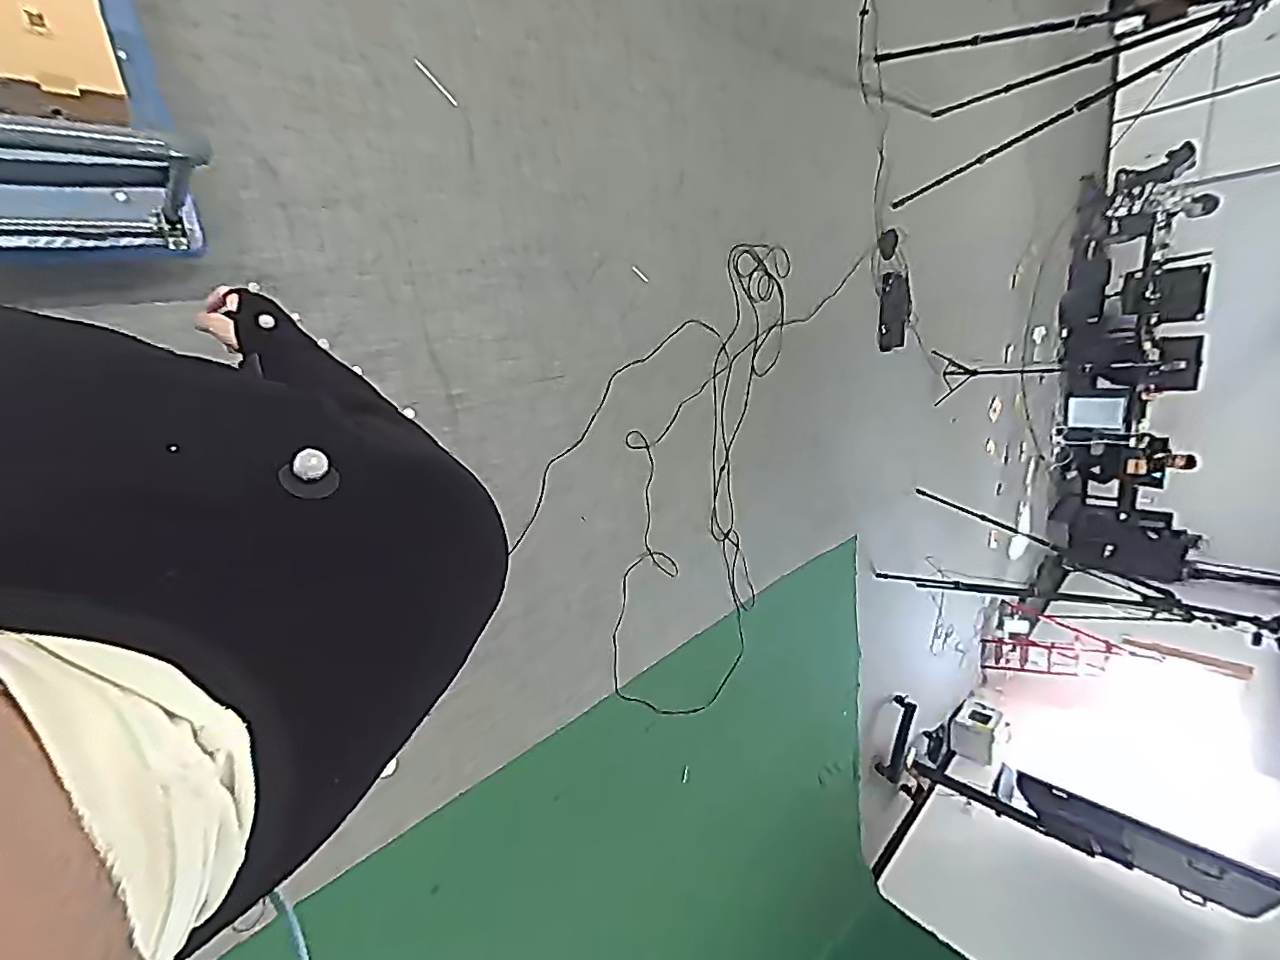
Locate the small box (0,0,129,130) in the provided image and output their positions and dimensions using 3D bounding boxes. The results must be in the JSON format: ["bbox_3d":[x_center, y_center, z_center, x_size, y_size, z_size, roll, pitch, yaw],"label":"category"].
[{"bbox_3d":[-0.984,-0.717,0.895,0.168,0.176,0.179,-20,110,-38],"label":"small box"}]
